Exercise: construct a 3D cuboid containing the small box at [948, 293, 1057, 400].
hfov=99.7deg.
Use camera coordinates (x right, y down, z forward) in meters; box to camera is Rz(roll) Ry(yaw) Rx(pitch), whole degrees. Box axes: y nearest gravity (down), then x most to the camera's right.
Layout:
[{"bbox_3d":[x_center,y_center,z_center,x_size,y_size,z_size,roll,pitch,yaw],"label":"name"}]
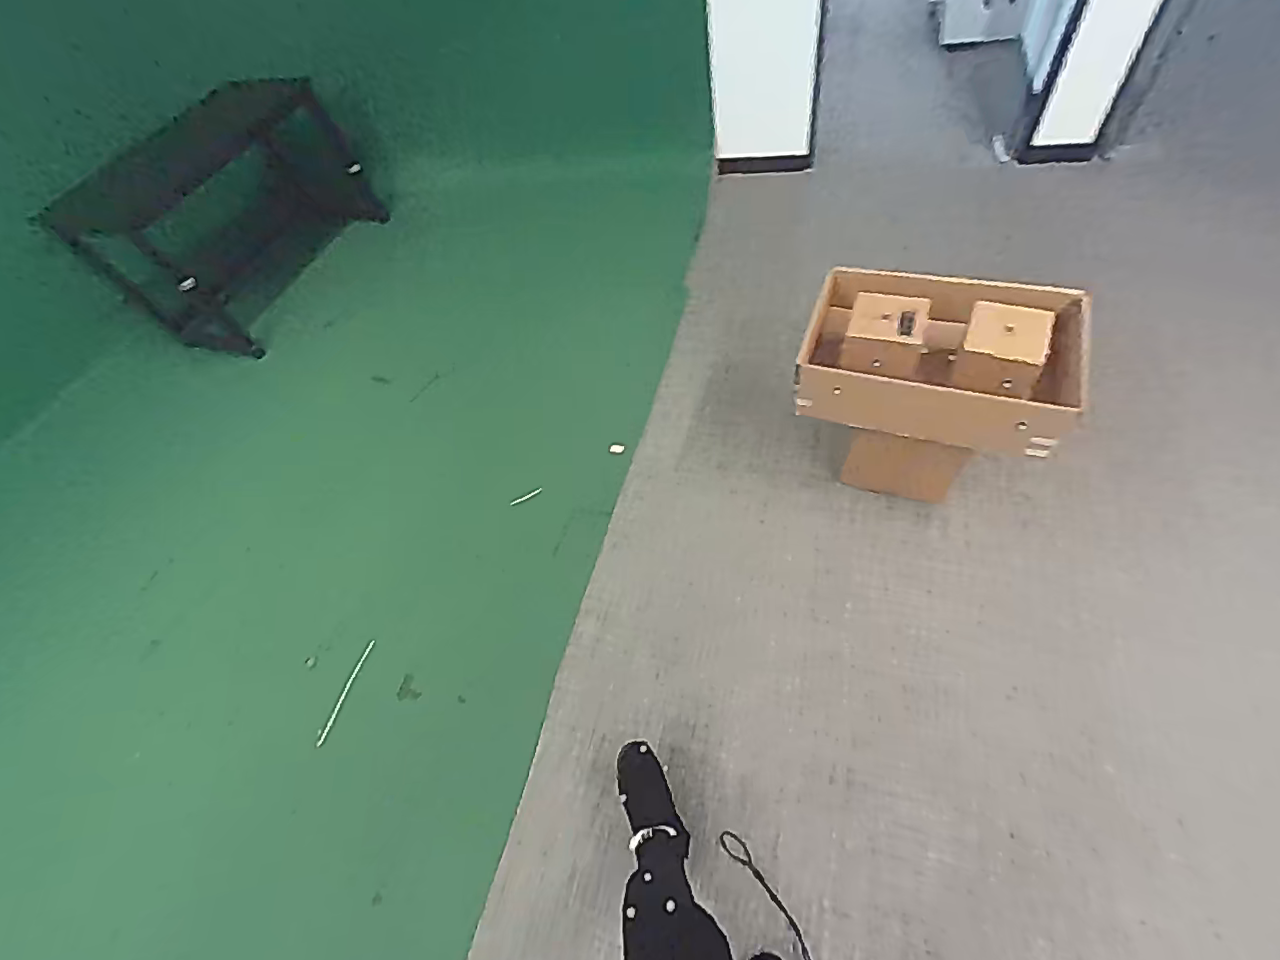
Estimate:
[{"bbox_3d":[0.872,-0.320,1.315,0.168,0.176,0.179,19,65,22],"label":"small box"}]
